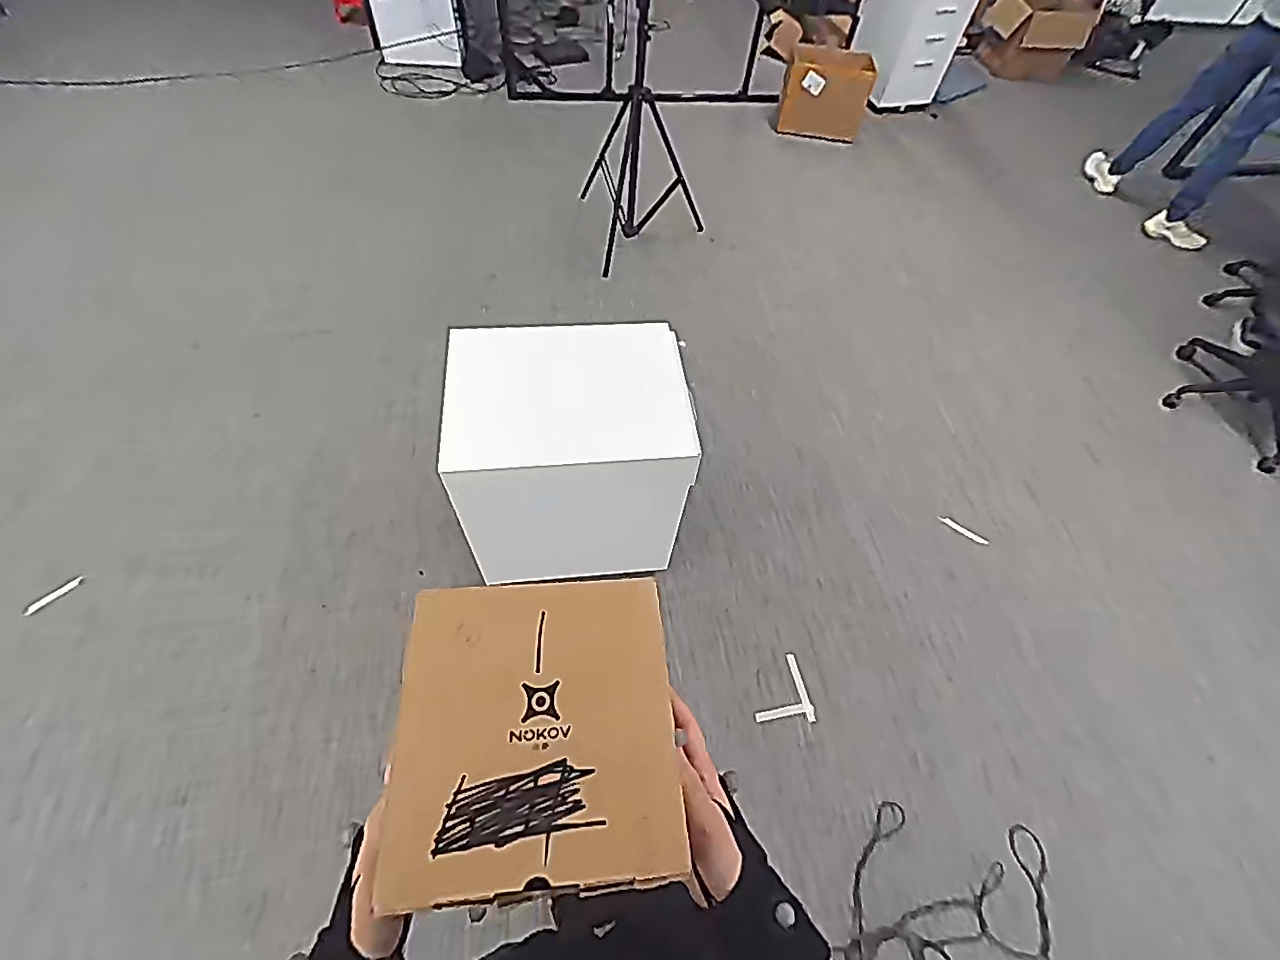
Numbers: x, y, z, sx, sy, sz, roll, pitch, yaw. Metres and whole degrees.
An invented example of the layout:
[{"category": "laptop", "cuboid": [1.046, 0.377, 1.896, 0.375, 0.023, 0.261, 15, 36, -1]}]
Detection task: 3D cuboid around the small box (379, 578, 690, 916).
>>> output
[{"category": "small box", "cuboid": [-0.065, 0.189, 0.392, 0.168, 0.176, 0.179, -2, 54, -7]}]
